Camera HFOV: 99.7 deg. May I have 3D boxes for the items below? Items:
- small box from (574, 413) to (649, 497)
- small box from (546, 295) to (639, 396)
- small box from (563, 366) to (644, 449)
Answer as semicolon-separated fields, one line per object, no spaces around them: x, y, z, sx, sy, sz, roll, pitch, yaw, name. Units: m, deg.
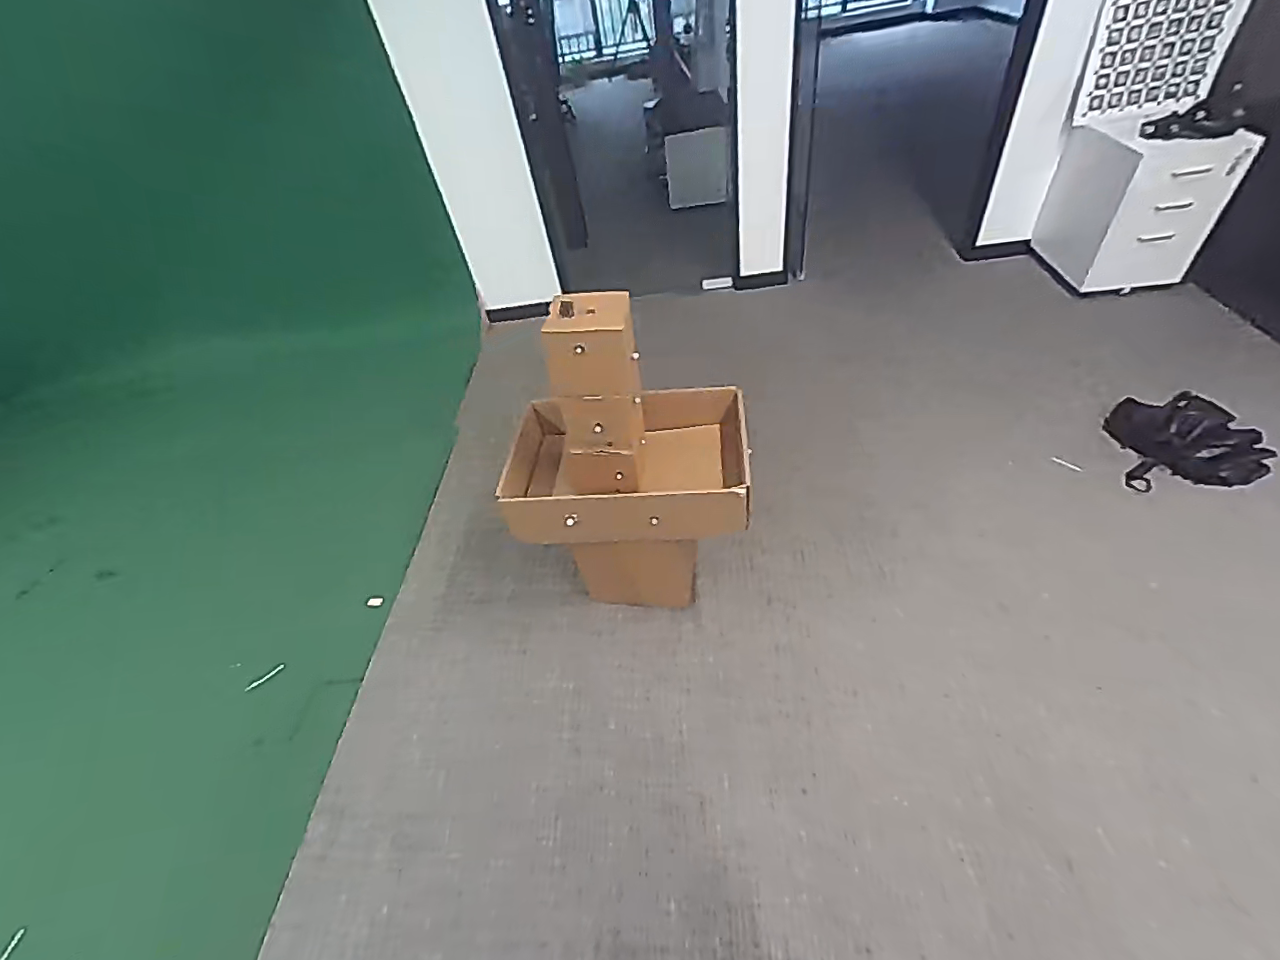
-0.069;-0.068;1.463;0.168;0.176;0.179;1;44;8;small box
-0.100;-0.304;1.235;0.179;0.176;0.168;-1;46;5;small box
-0.083;-0.190;1.354;0.168;0.176;0.179;1;47;8;small box
